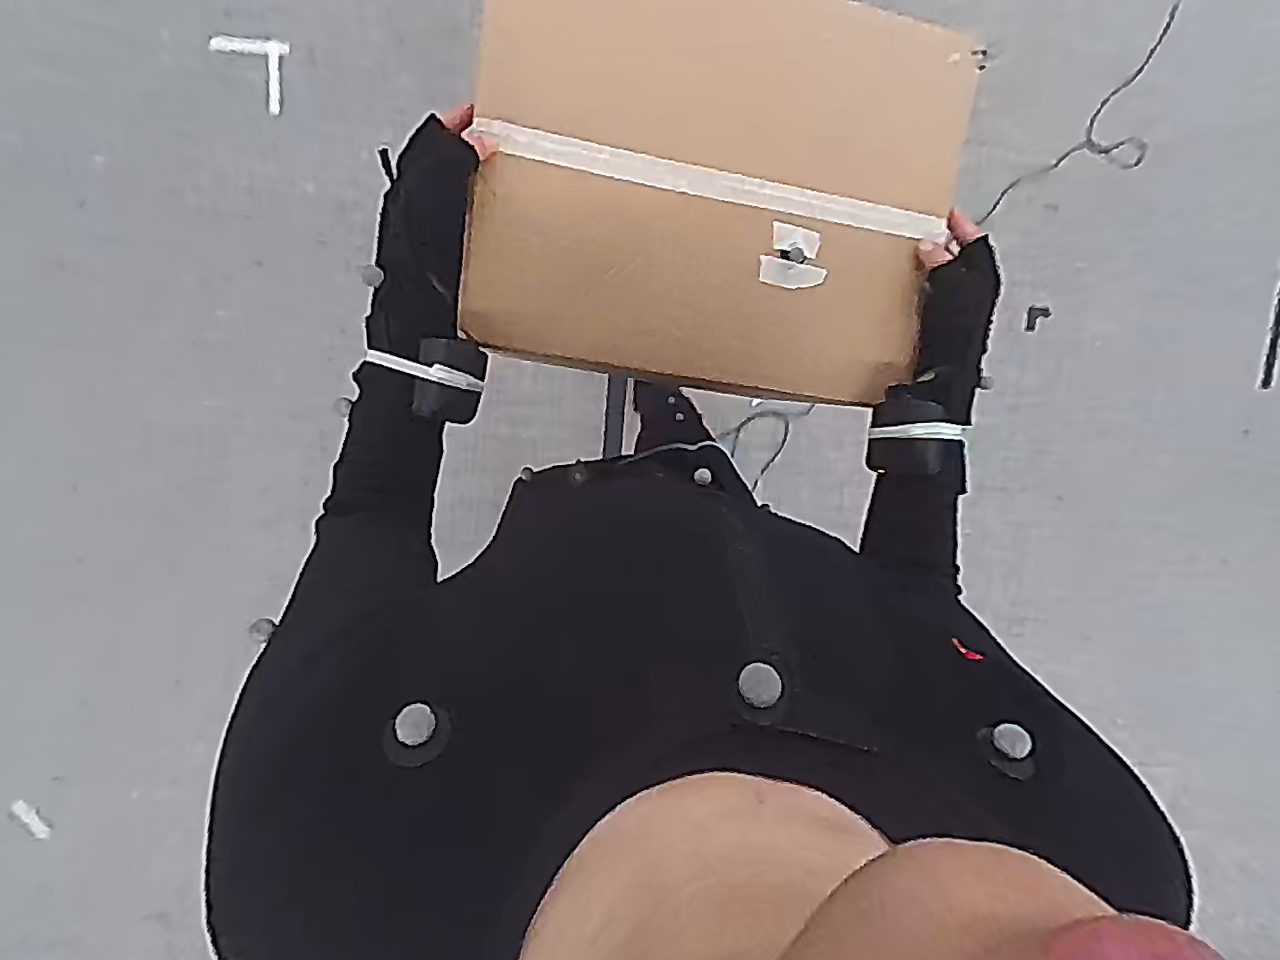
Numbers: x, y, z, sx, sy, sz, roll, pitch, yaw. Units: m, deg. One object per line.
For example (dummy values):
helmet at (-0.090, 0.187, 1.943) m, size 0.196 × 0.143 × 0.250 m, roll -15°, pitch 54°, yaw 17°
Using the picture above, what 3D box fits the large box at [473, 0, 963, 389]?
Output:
large box at (0.046, -0.282, 0.606) m, size 0.408 × 0.320 × 0.320 m, roll 6°, pitch 101°, yaw -11°
